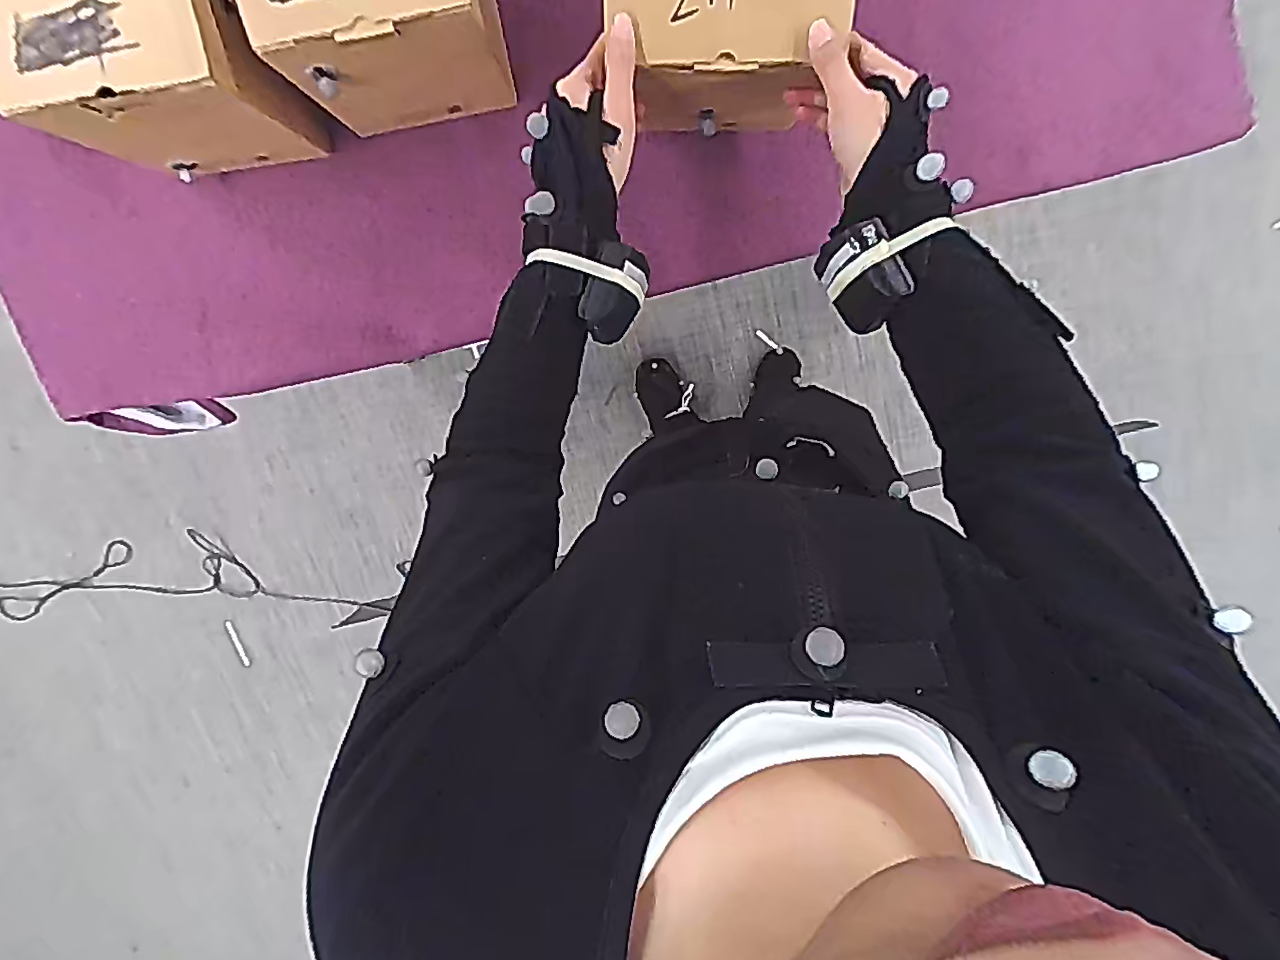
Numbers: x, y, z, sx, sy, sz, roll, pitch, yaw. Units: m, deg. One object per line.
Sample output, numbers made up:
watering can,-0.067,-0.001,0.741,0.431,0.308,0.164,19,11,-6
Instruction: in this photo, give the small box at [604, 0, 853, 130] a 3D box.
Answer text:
small box,0.059,-0.389,0.410,0.168,0.176,0.179,1,111,1
